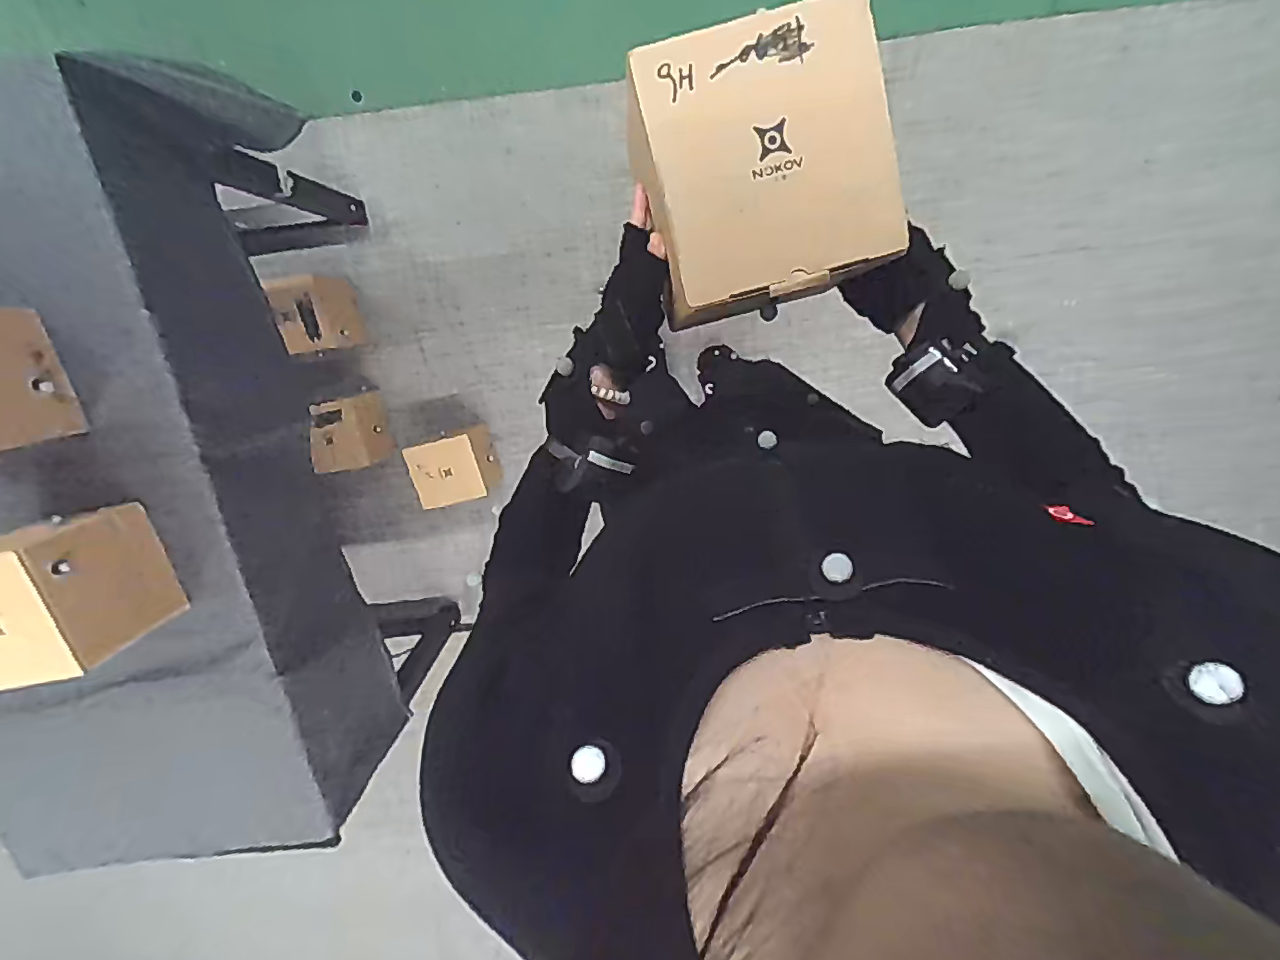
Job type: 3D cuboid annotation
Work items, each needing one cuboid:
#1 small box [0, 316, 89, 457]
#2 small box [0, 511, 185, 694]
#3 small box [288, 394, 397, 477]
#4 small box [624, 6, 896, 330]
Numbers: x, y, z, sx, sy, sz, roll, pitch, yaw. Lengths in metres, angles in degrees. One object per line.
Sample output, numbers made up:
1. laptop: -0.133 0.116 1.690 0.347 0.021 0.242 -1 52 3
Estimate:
1. small box: -0.855 -0.102 0.656 0.179 0.176 0.168 -9 107 3
2. small box: -0.782 0.160 0.734 0.168 0.176 0.179 -11 106 4
3. small box: -0.762 -0.123 1.405 0.168 0.176 0.179 -8 107 3
4. small box: 0.086 -0.231 0.455 0.168 0.176 0.179 -14 101 1
